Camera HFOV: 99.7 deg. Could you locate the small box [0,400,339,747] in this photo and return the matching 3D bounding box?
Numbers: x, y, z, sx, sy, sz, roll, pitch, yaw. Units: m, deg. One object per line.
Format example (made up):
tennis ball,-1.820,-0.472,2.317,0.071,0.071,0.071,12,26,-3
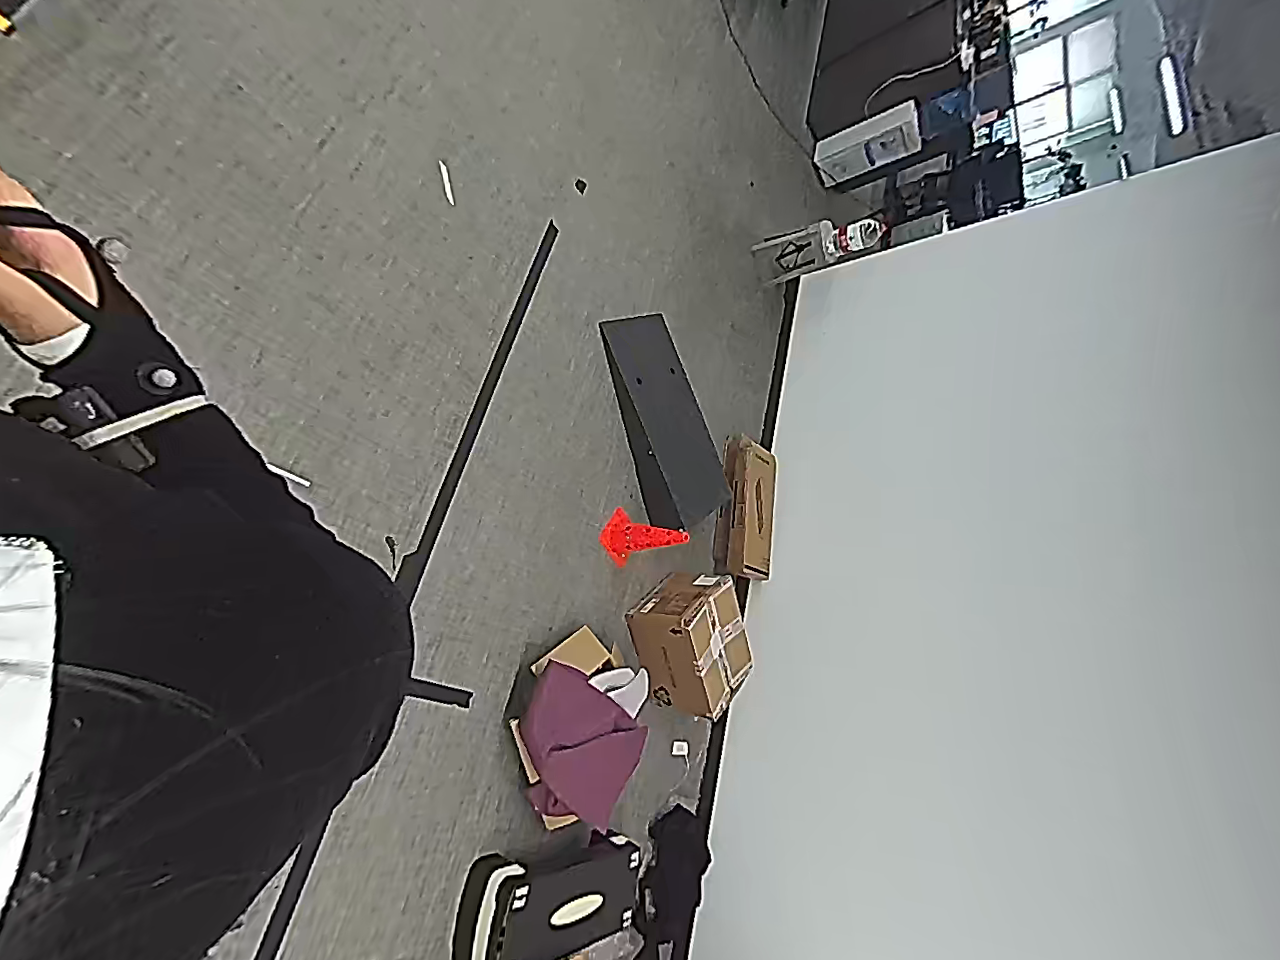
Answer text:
small box,-0.352,0.071,0.410,0.179,0.176,0.168,15,117,-48
